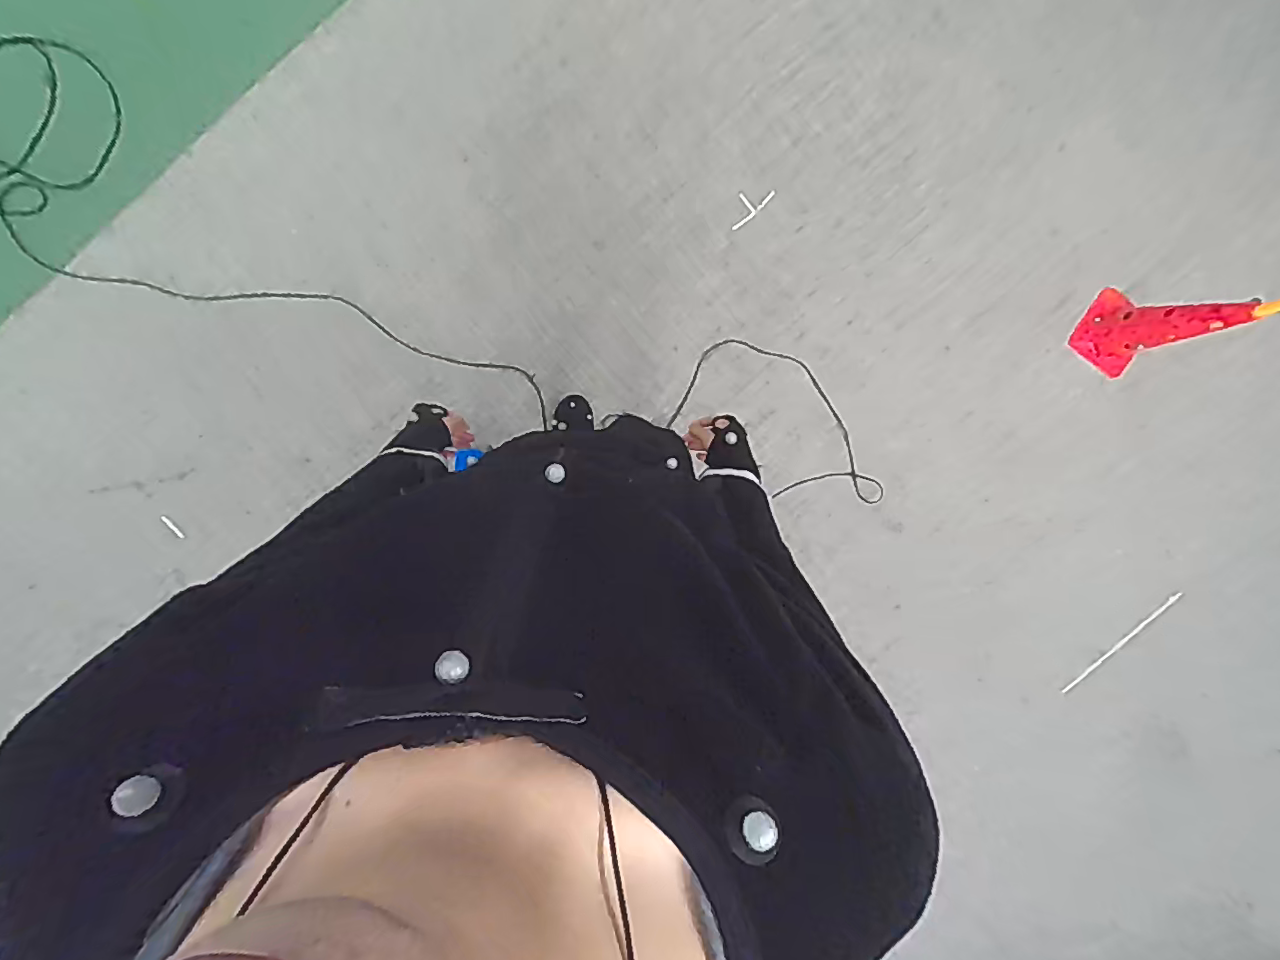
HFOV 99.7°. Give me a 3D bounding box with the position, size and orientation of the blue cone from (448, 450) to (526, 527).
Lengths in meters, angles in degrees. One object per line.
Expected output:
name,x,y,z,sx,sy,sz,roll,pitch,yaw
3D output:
blue cone,-0.385,0.046,1.290,0.192,0.380,0.193,3,100,-7
